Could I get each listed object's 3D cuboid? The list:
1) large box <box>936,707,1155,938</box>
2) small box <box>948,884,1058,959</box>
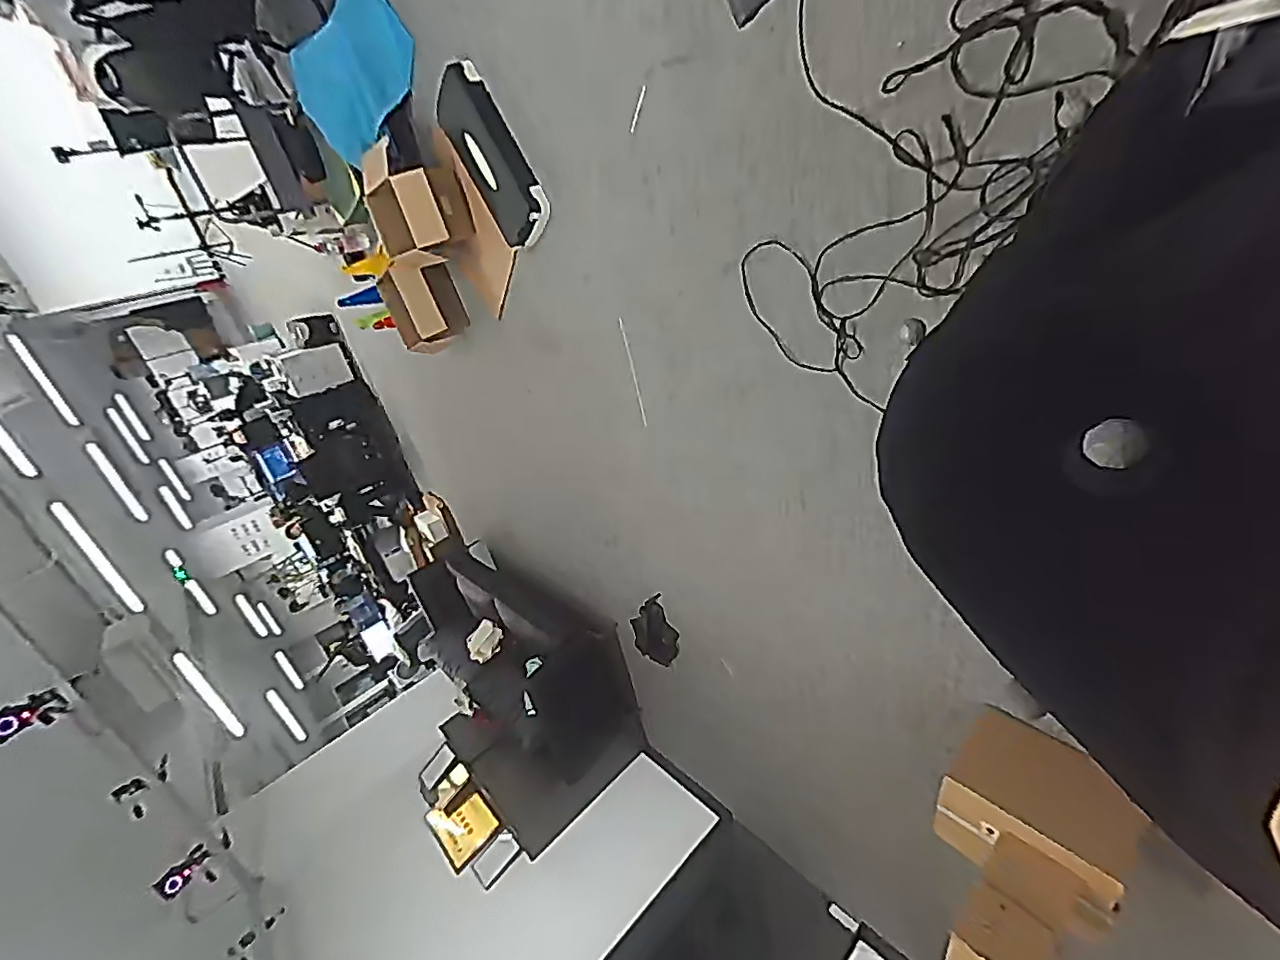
[{"bbox_3d":[1.136,0.948,1.544,0.408,0.320,0.320,24,133,45],"label":"large box"},{"bbox_3d":[0.866,1.128,1.294,0.168,0.176,0.179,24,135,46],"label":"small box"}]
